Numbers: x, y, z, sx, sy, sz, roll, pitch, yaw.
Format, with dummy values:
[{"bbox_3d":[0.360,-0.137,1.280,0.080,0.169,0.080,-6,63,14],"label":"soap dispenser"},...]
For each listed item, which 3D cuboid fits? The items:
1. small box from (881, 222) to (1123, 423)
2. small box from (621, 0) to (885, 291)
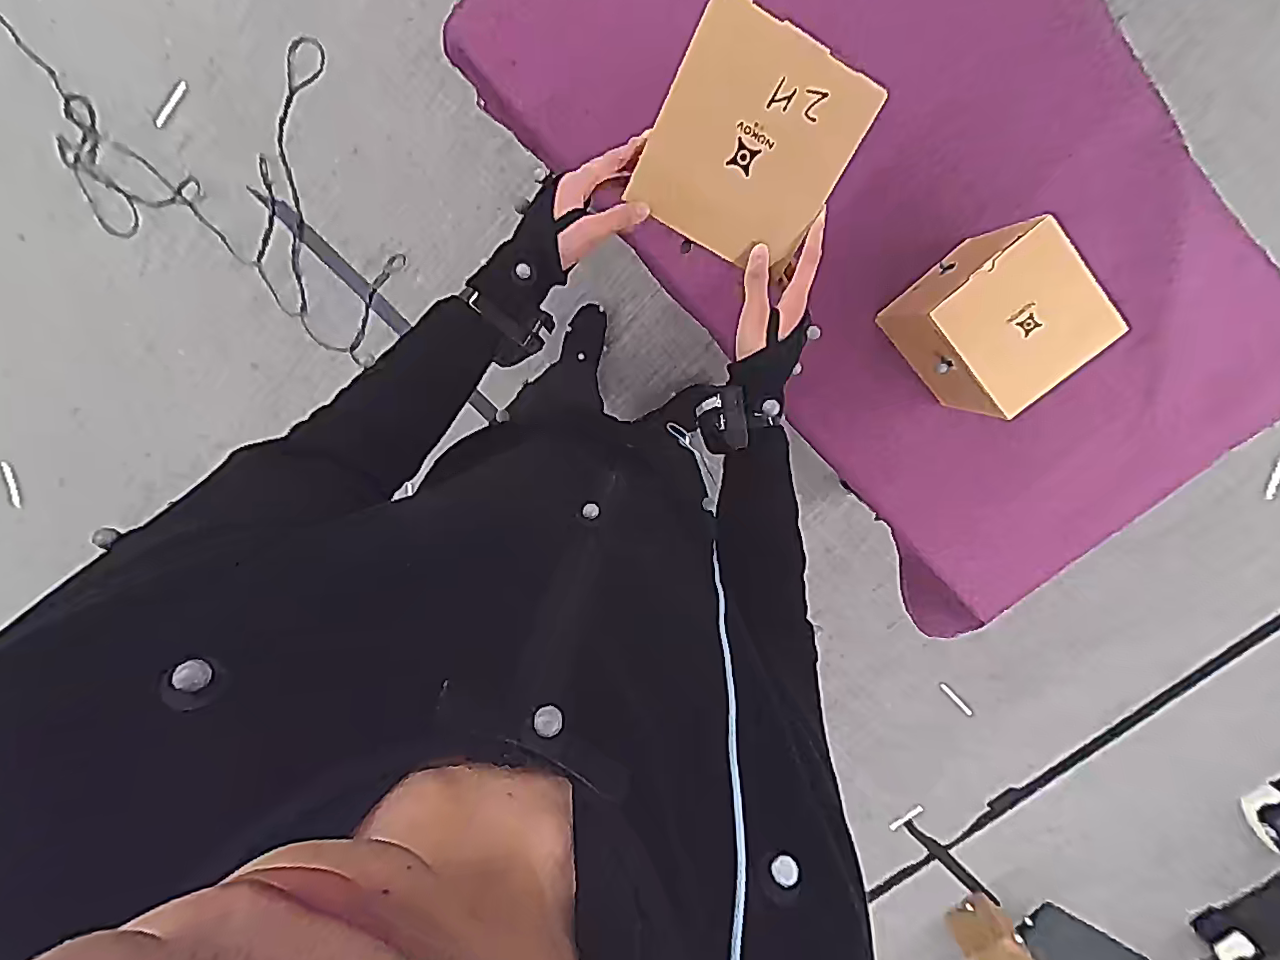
[{"bbox_3d":[0.462,-0.204,0.720,0.168,0.176,0.179,-40,99,12],"label":"small box"},{"bbox_3d":[0.097,-0.316,0.537,0.168,0.176,0.179,25,114,-11],"label":"small box"}]
